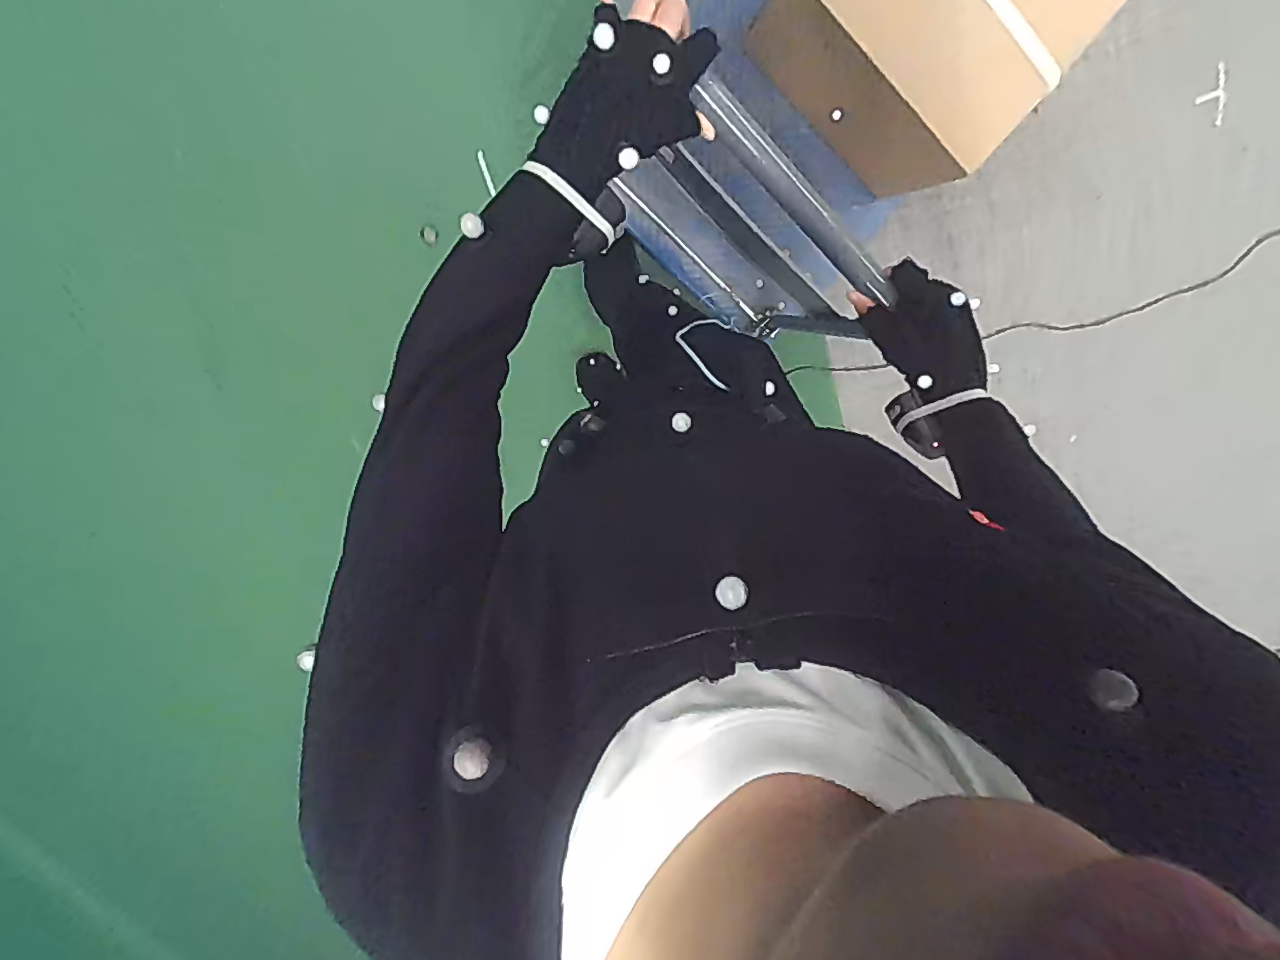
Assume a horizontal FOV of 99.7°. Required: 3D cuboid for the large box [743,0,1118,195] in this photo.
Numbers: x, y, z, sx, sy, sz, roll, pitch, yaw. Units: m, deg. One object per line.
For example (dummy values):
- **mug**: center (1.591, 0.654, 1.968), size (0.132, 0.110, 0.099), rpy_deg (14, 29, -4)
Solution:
- **large box**: center (0.440, -0.752, 0.888), size (0.408, 0.320, 0.320), rpy_deg (38, 105, -14)
